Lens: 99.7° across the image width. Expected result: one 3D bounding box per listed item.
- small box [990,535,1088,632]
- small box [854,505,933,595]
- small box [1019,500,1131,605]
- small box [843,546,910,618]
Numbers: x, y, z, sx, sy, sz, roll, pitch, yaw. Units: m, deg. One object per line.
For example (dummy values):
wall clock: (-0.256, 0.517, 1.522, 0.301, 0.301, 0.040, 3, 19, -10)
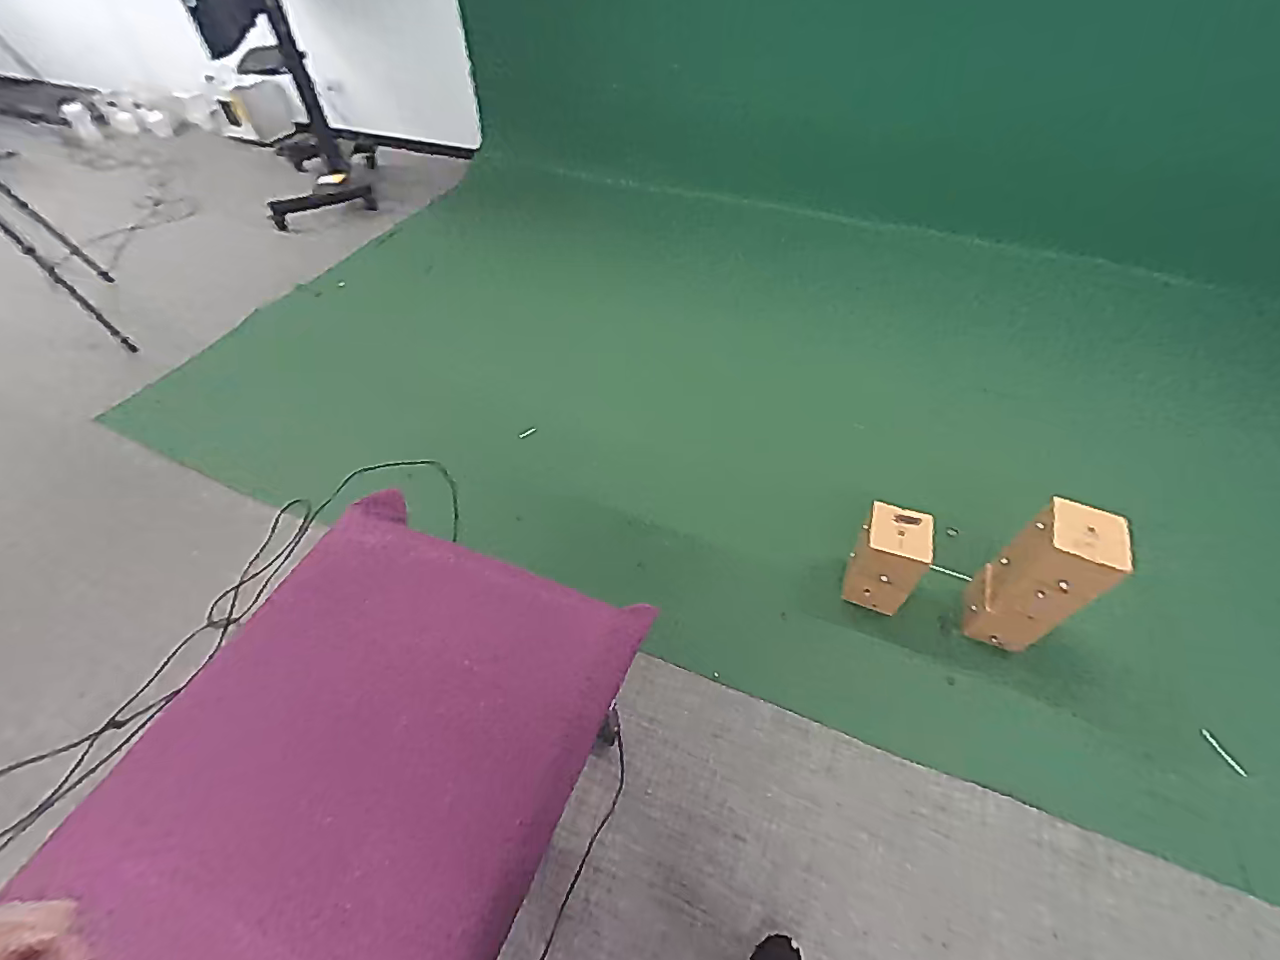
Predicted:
small box: (1.114, 0.291, 1.518, 0.168, 0.176, 0.179, 21, 53, 17)
small box: (0.746, 0.207, 1.596, 0.168, 0.176, 0.179, 15, 52, 14)
small box: (1.108, 0.188, 1.390, 0.168, 0.176, 0.179, 21, 54, 17)
small box: (0.759, 0.310, 1.724, 0.168, 0.176, 0.179, 18, 52, 16)
